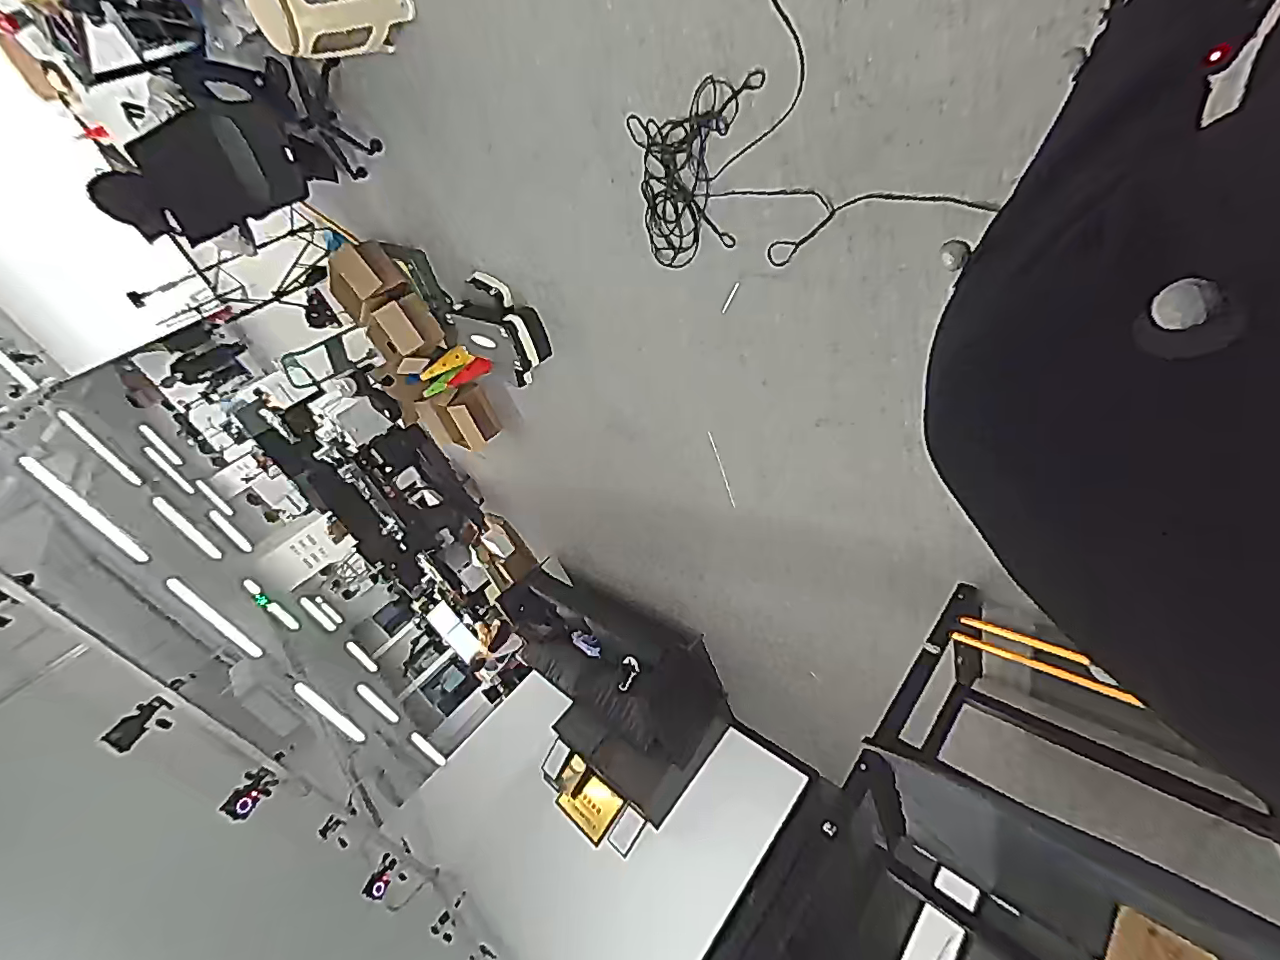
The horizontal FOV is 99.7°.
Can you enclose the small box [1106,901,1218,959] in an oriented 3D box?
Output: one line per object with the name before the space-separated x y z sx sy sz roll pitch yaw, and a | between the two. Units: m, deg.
small box | 1.186 1.126 1.238 0.168 0.176 0.179 13 138 47
